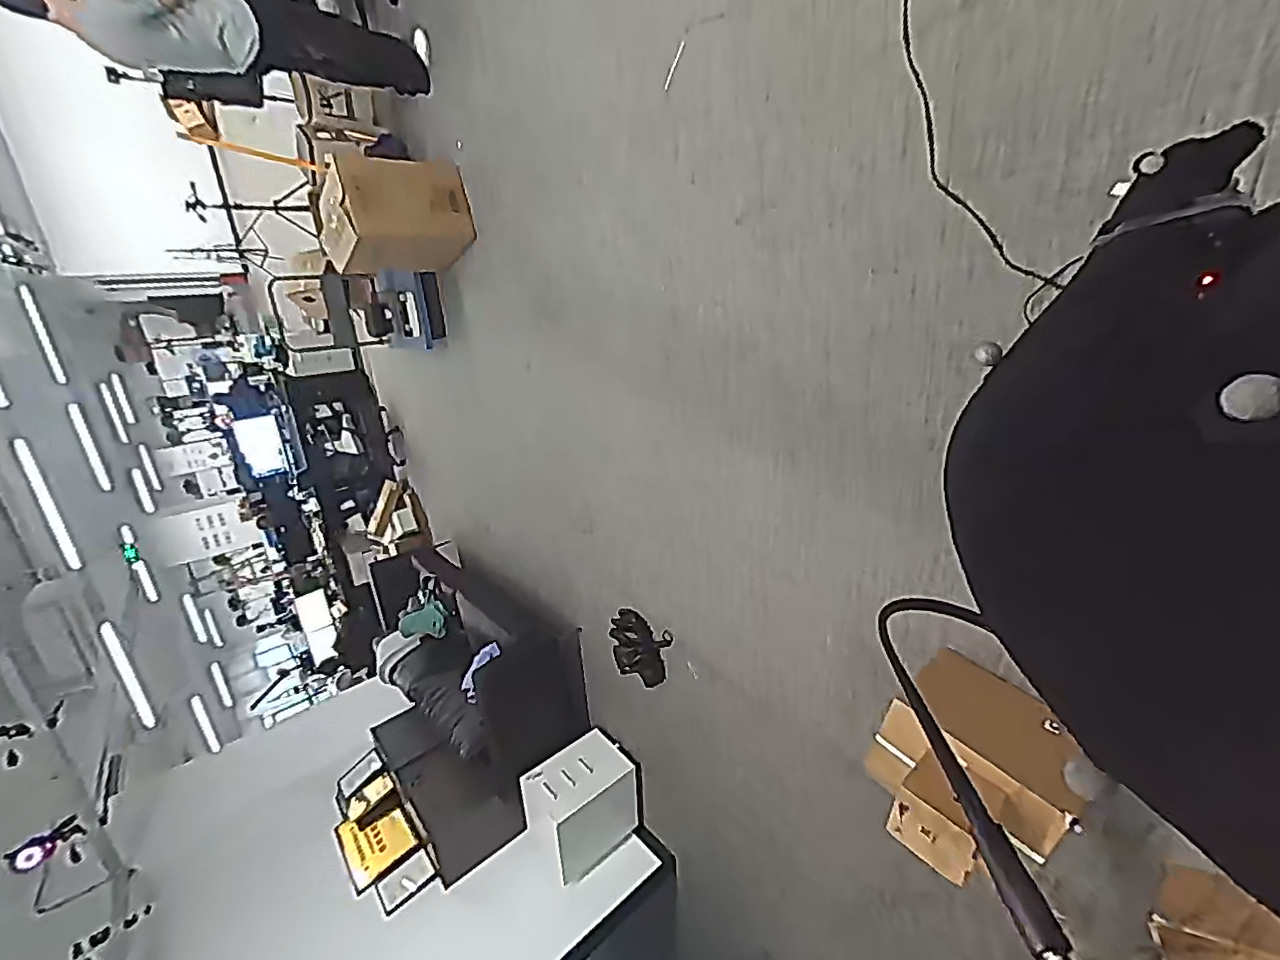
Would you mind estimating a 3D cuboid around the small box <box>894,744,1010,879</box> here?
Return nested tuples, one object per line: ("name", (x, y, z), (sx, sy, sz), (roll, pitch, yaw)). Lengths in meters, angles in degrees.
("small box", (0.737, 0.770, 1.276), (0.179, 0.176, 0.168), (25, 124, 43))
